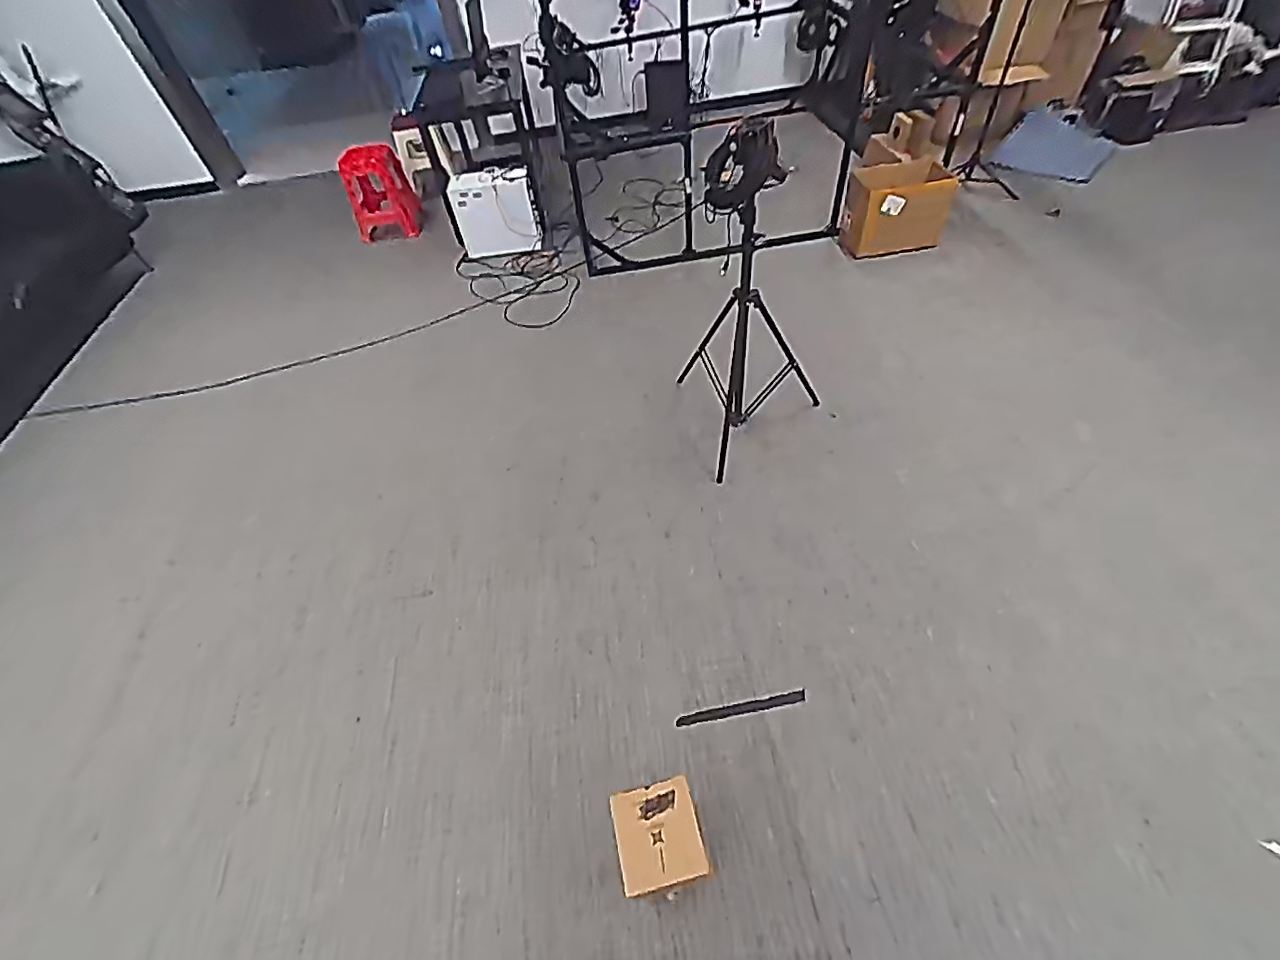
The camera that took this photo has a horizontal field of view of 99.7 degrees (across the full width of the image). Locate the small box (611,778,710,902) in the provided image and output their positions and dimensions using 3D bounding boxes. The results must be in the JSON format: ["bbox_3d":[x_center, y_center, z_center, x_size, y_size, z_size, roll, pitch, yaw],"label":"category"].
[{"bbox_3d":[0.042,0.755,1.133,0.168,0.176,0.179,-14,51,-3],"label":"small box"}]

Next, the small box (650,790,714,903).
[{"bbox_3d":[0.066,0.855,1.261,0.168,0.176,0.179,-15,50,-5],"label":"small box"}]
